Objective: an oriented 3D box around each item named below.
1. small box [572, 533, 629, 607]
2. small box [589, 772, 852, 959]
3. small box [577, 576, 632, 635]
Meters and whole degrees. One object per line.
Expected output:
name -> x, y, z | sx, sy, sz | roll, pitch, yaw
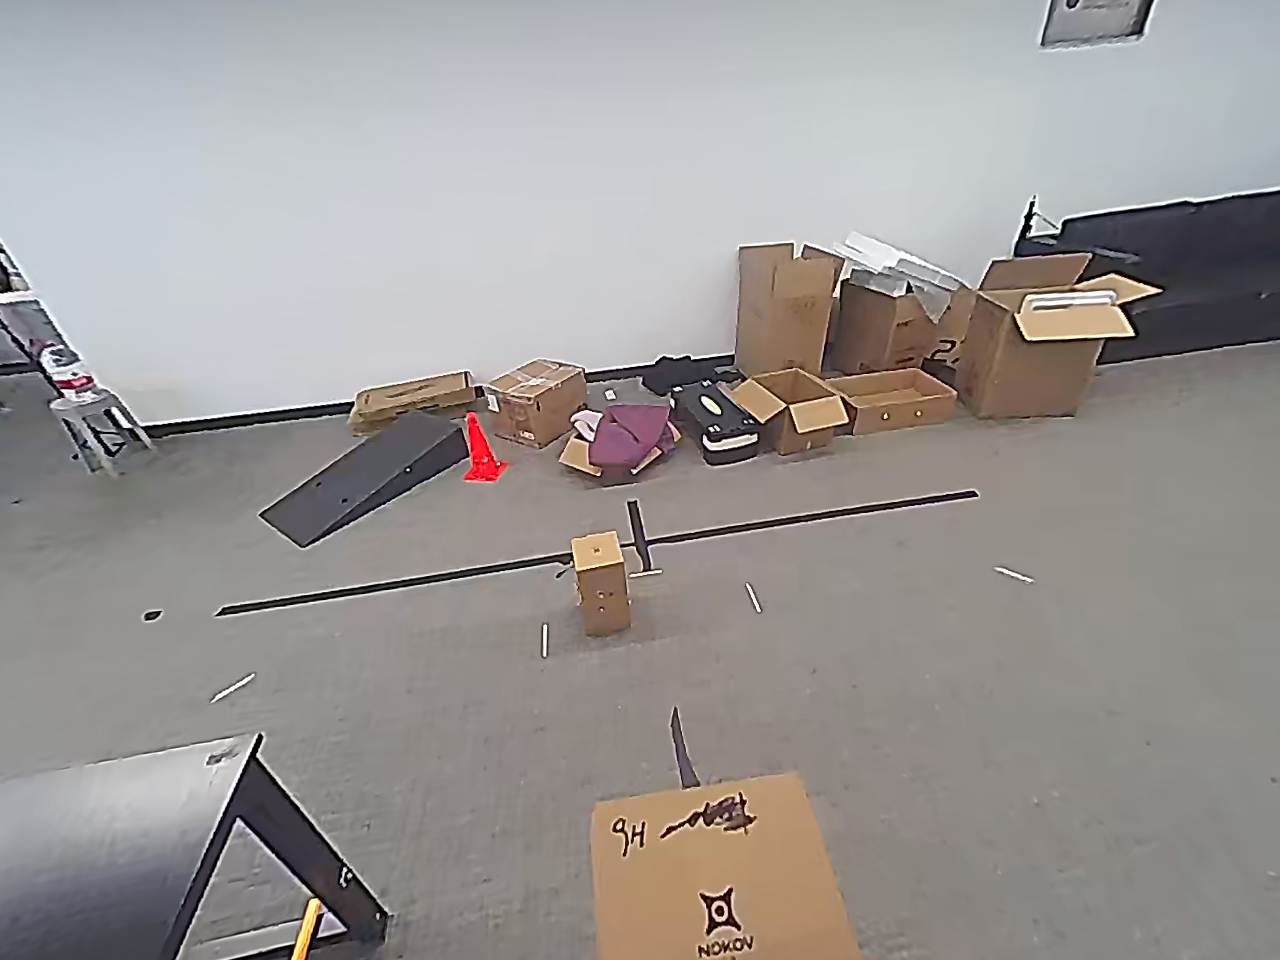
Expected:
small box -> -0.141, 0.319, 1.920 | 0.168, 0.176, 0.179 | -12, 35, -7
small box -> 0.056, 0.353, 0.401 | 0.168, 0.176, 0.179 | -7, 38, -2
small box -> -0.133, 0.454, 2.010 | 0.179, 0.176, 0.168 | -9, 33, -7
